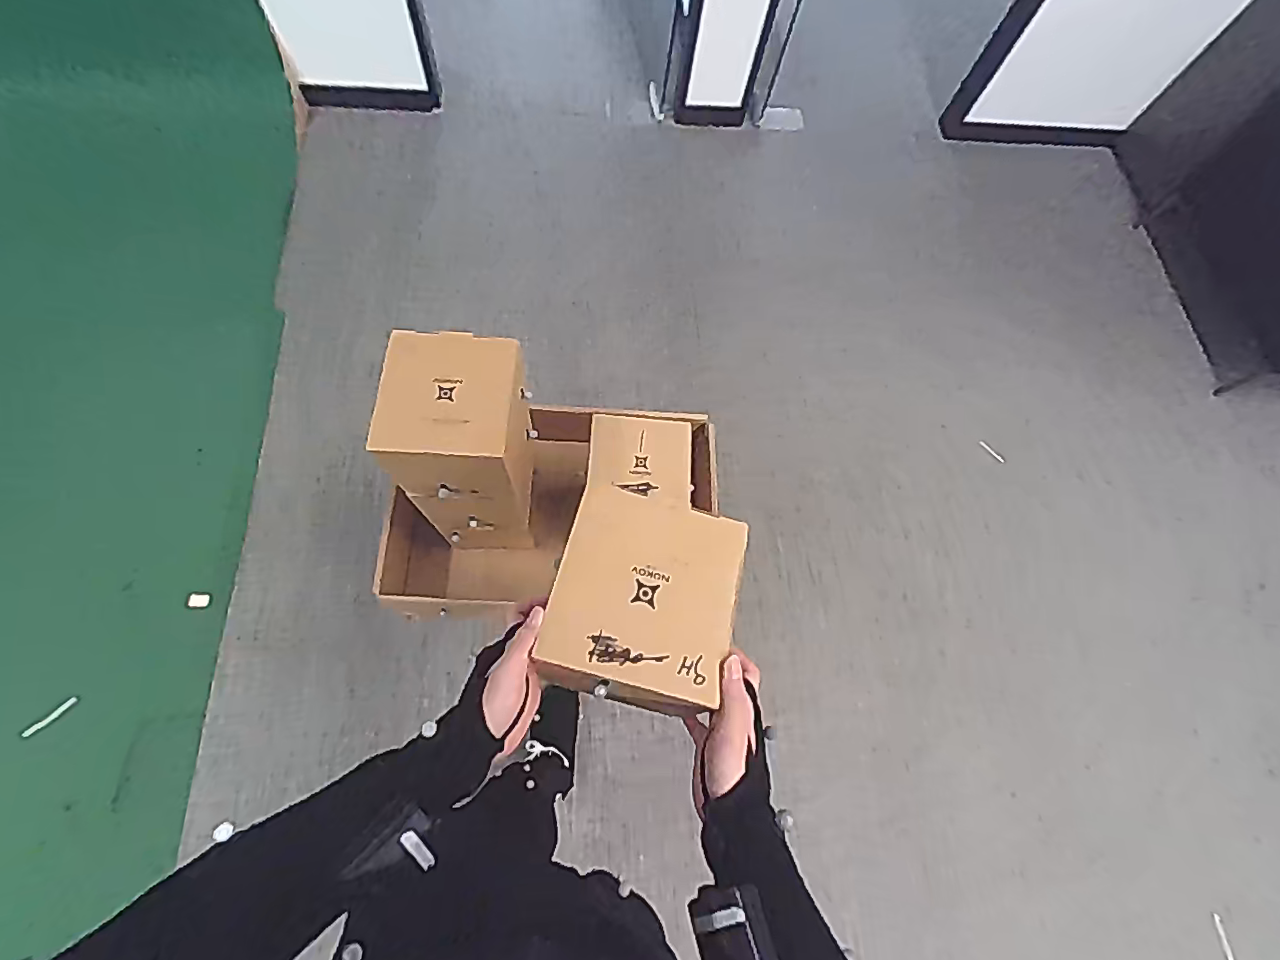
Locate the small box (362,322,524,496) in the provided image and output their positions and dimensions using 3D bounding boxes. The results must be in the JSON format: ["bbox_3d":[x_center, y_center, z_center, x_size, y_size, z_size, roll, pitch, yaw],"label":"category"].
[{"bbox_3d":[-0.256,-0.091,0.752,0.168,0.176,0.179,4,69,-5],"label":"small box"}]

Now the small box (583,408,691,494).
[{"bbox_3d":[-0.011,-0.001,0.922,0.168,0.176,0.179,5,69,-5],"label":"small box"}]

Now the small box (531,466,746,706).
[{"bbox_3d":[-0.005,0.117,0.554,0.168,0.176,0.179,16,62,0],"label":"small box"}]

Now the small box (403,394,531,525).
[{"bbox_3d":[-0.275,-0.034,0.903,0.168,0.176,0.179,3,69,-5],"label":"small box"}]
